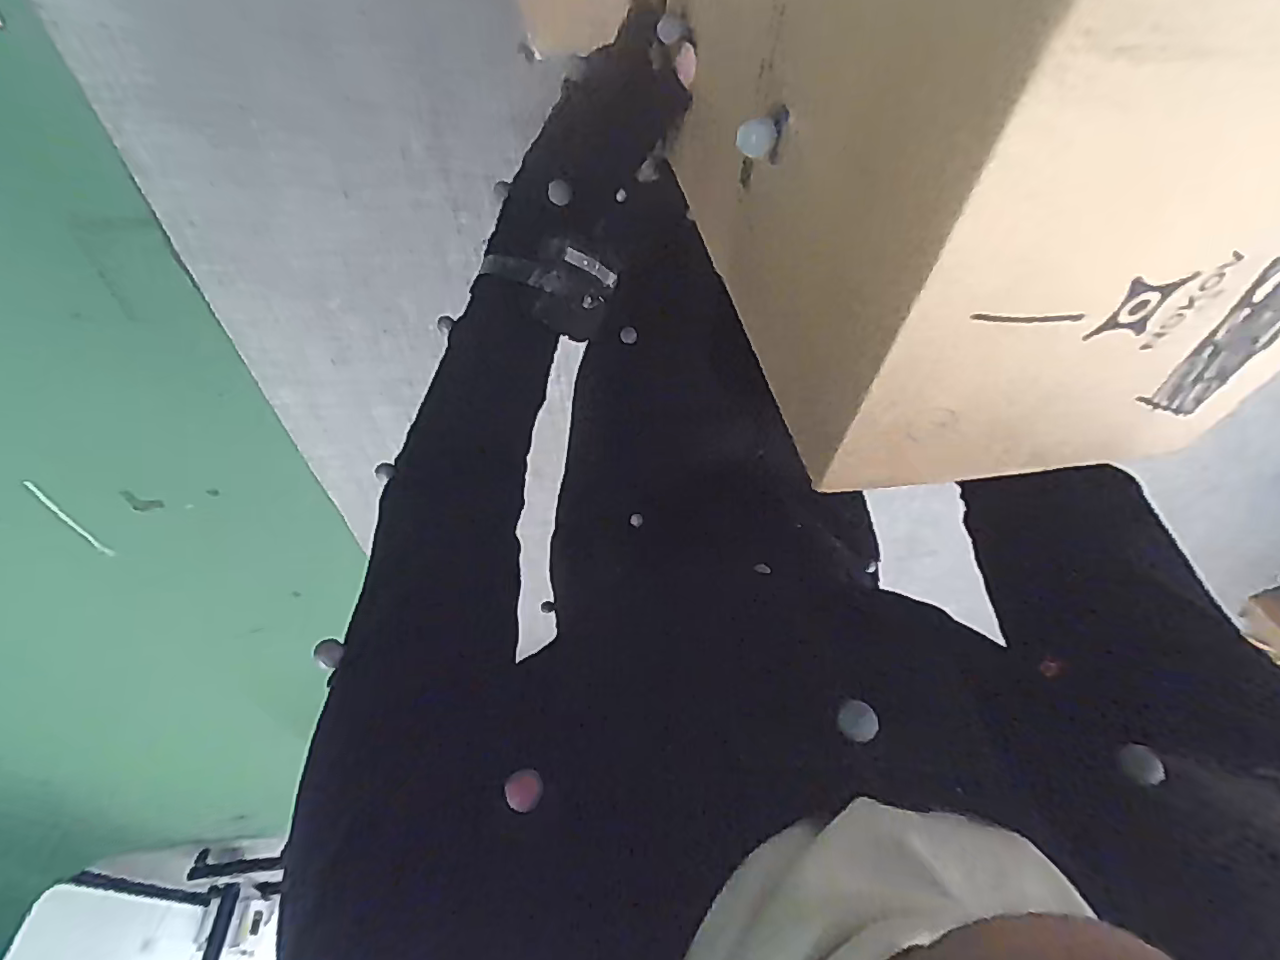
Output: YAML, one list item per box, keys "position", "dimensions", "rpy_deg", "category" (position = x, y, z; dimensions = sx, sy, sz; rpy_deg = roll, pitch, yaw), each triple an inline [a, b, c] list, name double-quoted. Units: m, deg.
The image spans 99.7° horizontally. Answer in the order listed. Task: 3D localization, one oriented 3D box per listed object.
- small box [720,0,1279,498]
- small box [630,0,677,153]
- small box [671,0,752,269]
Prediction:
- position: [0.145, -0.118, 0.214]
  dimensions: [0.179, 0.176, 0.168]
  rpy_deg: [-9, 144, -5]
  category: "small box"
- position: [0.088, -0.375, 0.411]
  dimensions: [0.179, 0.176, 0.168]
  rpy_deg: [-7, 145, -7]
  category: "small box"
- position: [0.114, -0.249, 0.310]
  dimensions: [0.168, 0.176, 0.179]
  rpy_deg: [-6, 145, -6]
  category: "small box"
